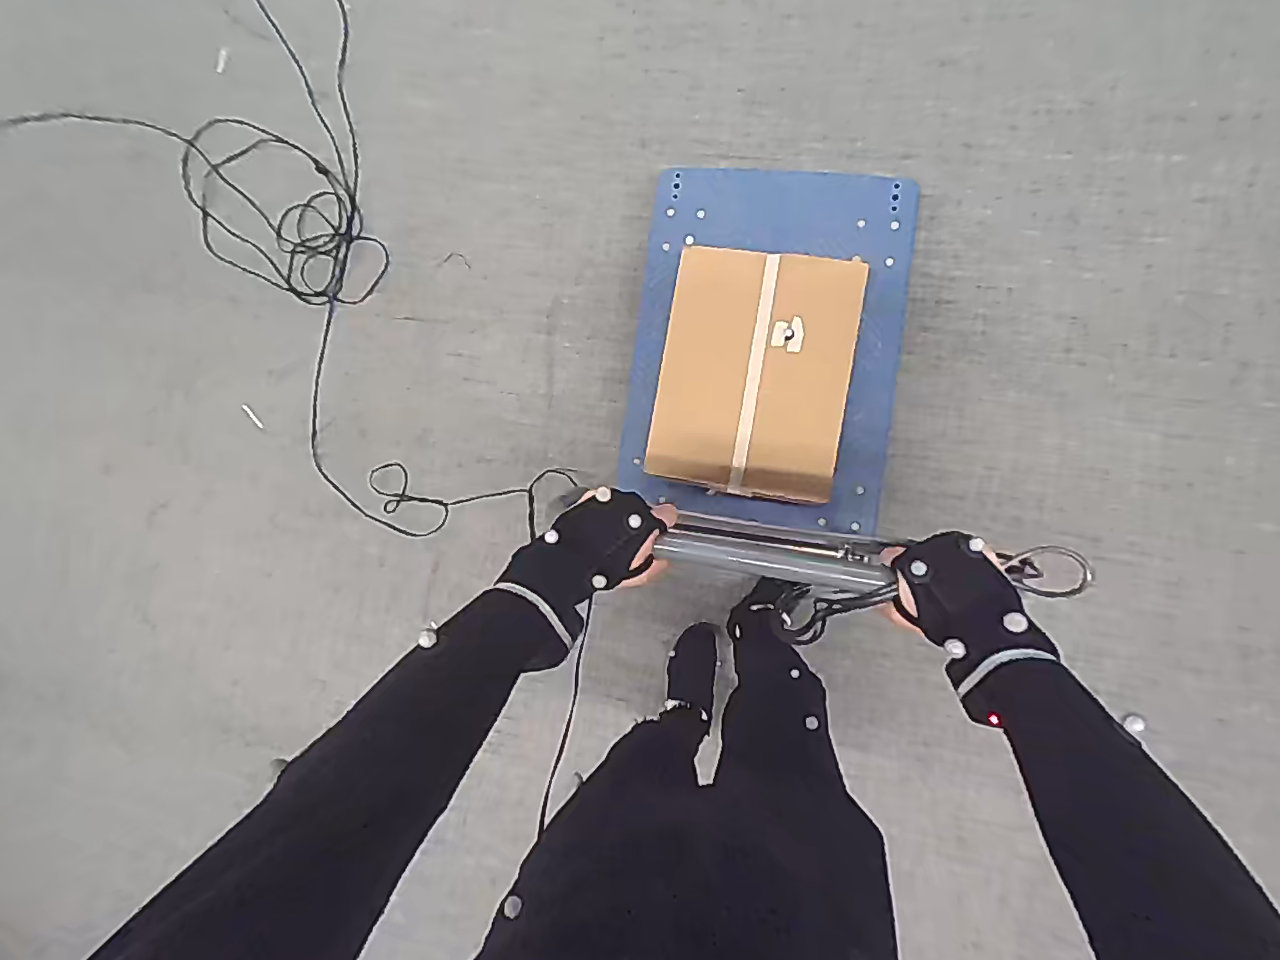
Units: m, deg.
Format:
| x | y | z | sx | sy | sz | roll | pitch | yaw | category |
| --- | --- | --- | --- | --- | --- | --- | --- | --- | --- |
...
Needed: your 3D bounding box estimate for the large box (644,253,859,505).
| x | y | z | sx | sy | sz | roll | pitch | yaw | category |
| --- | --- | --- | --- | --- | --- | --- | --- | --- | --- |
| 0.208 | -0.170 | 1.062 | 0.320 | 0.320 | 0.408 | 10 | 89 | 8 | large box |
